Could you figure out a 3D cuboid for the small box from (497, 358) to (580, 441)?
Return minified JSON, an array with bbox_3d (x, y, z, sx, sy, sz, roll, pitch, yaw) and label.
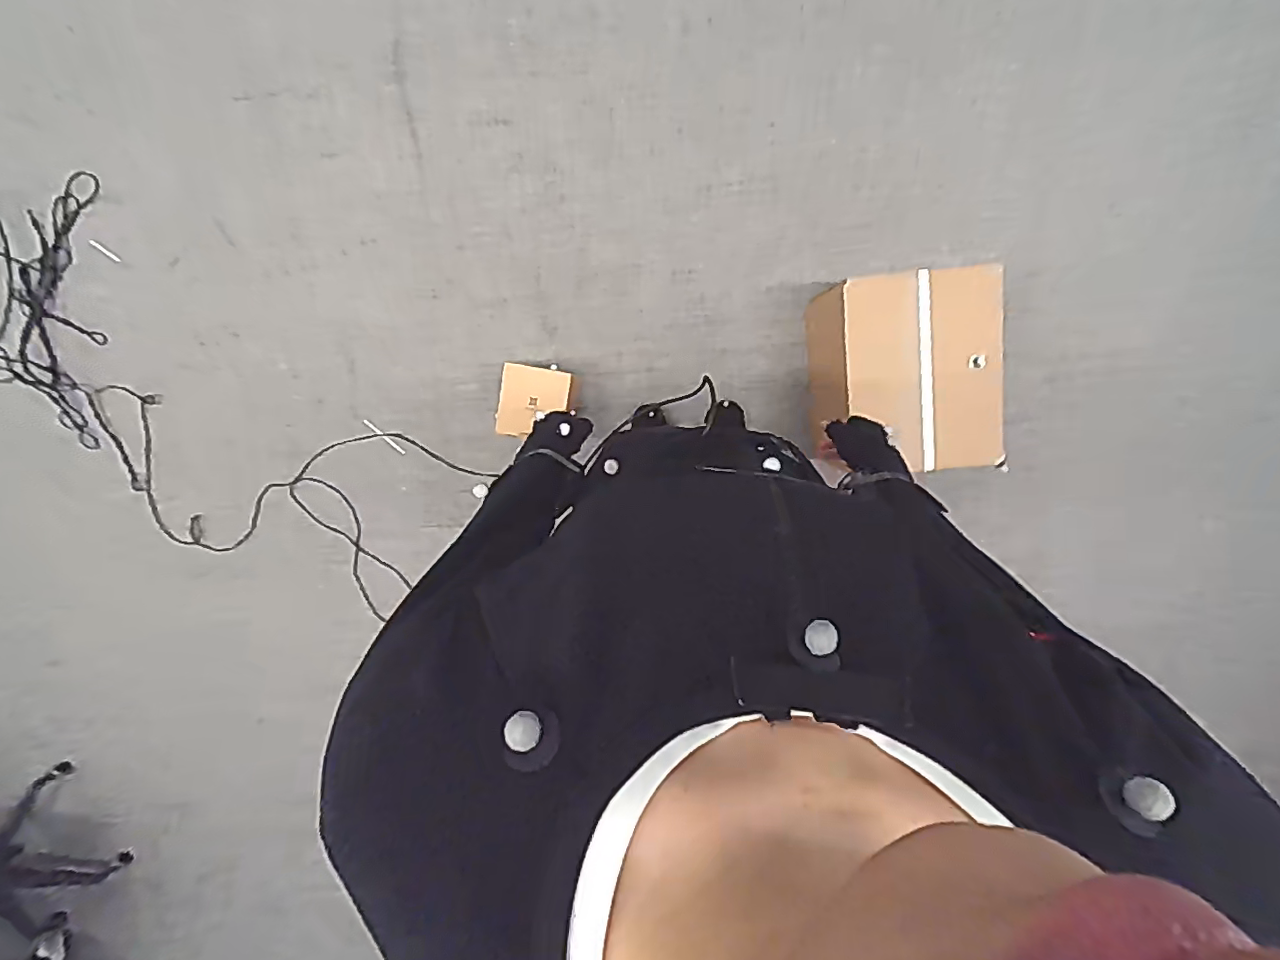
[{"bbox_3d":[-0.254,-0.207,1.383,0.168,0.176,0.179,10,101,1],"label":"small box"}]
